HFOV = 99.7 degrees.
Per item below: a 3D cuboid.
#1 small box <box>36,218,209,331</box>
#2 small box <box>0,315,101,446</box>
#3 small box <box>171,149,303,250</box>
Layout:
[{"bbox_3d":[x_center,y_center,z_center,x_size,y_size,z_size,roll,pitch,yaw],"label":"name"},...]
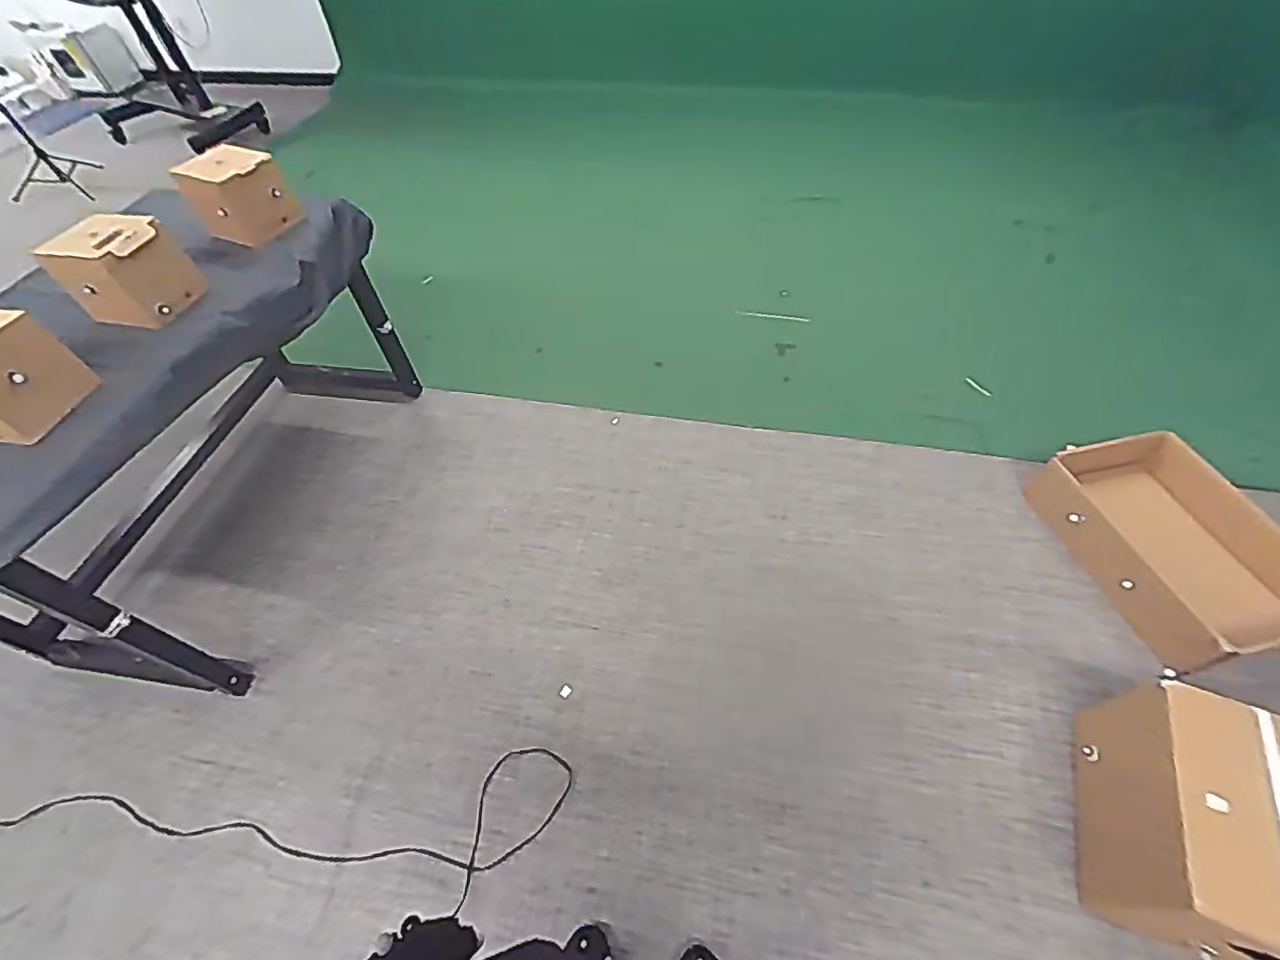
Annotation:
[{"bbox_3d":[-1.118,-0.448,1.189,0.179,0.176,0.168,8,54,10],"label":"small box"},{"bbox_3d":[-1.168,-0.179,0.985,0.168,0.176,0.179,4,53,8],"label":"small box"},{"bbox_3d":[-1.019,-0.716,1.387,0.179,0.176,0.168,17,55,17],"label":"small box"}]
